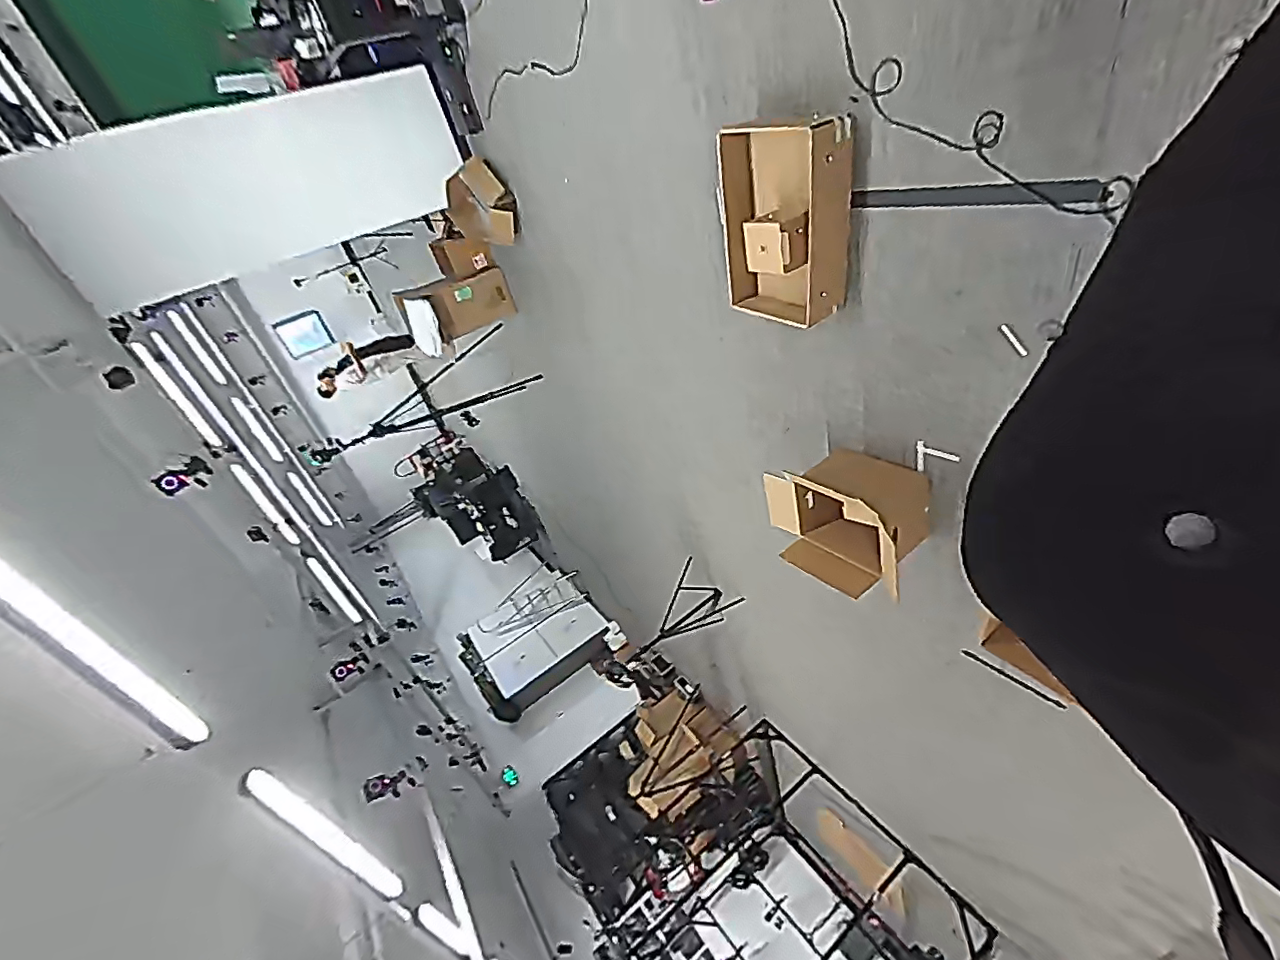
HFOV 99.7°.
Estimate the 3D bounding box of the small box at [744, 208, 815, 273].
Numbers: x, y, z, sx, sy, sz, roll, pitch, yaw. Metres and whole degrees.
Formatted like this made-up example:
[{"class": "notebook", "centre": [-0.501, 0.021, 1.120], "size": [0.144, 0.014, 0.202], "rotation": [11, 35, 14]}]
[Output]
[{"class": "small box", "centre": [0.486, -0.829, 1.865], "size": [0.179, 0.176, 0.168], "rotation": [32, 146, 48]}]
